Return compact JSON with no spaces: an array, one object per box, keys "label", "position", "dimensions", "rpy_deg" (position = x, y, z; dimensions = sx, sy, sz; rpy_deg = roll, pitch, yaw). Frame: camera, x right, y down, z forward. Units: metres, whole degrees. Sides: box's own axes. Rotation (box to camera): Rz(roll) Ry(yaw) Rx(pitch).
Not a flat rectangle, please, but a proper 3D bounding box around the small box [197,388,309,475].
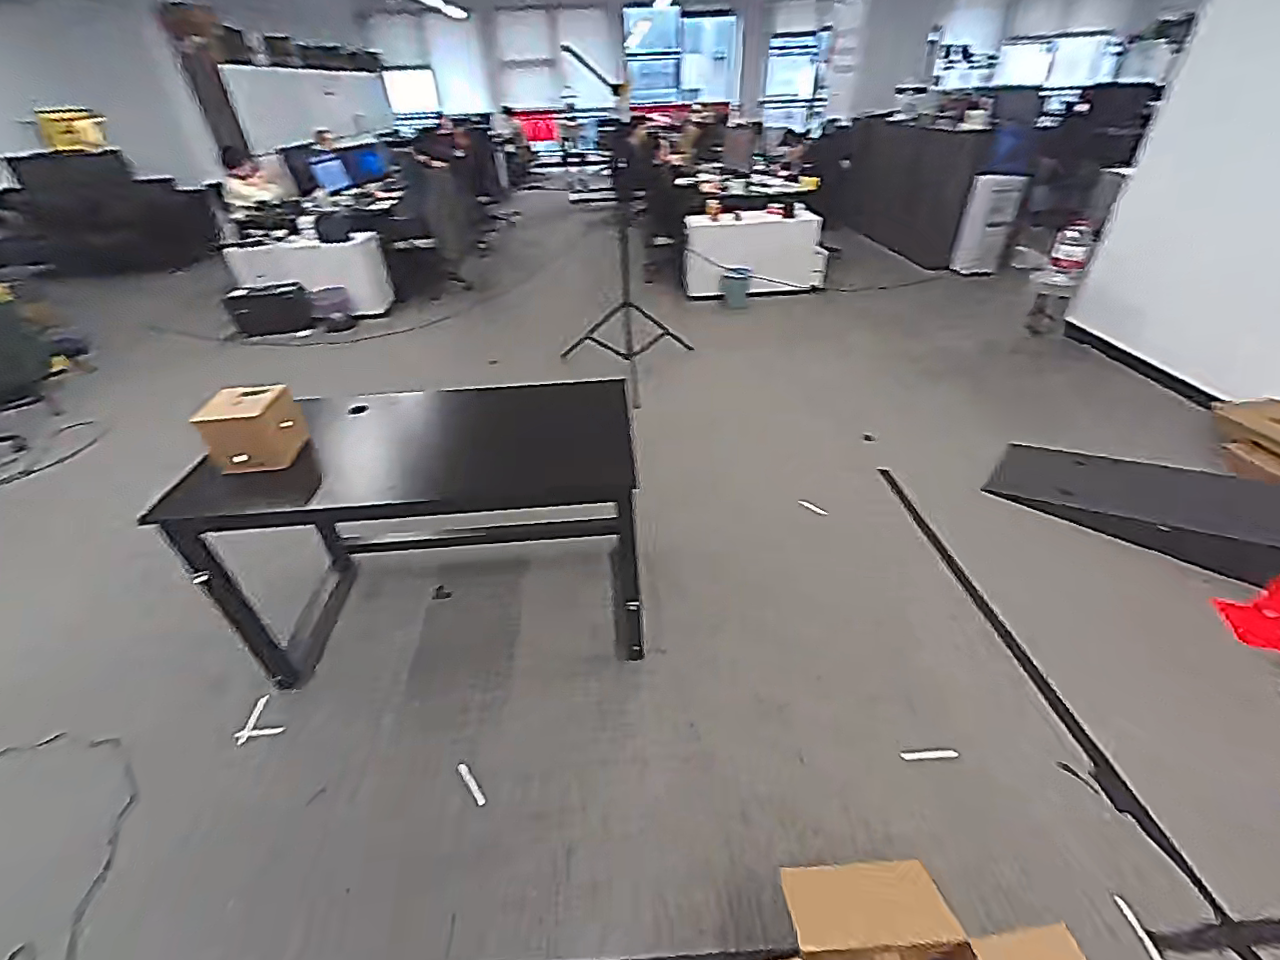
[{"label":"small box","position":[-1.039,-0.134,1.473],"dimensions":[0.168,0.176,0.179],"rpy_deg":[-5,37,-3]}]
